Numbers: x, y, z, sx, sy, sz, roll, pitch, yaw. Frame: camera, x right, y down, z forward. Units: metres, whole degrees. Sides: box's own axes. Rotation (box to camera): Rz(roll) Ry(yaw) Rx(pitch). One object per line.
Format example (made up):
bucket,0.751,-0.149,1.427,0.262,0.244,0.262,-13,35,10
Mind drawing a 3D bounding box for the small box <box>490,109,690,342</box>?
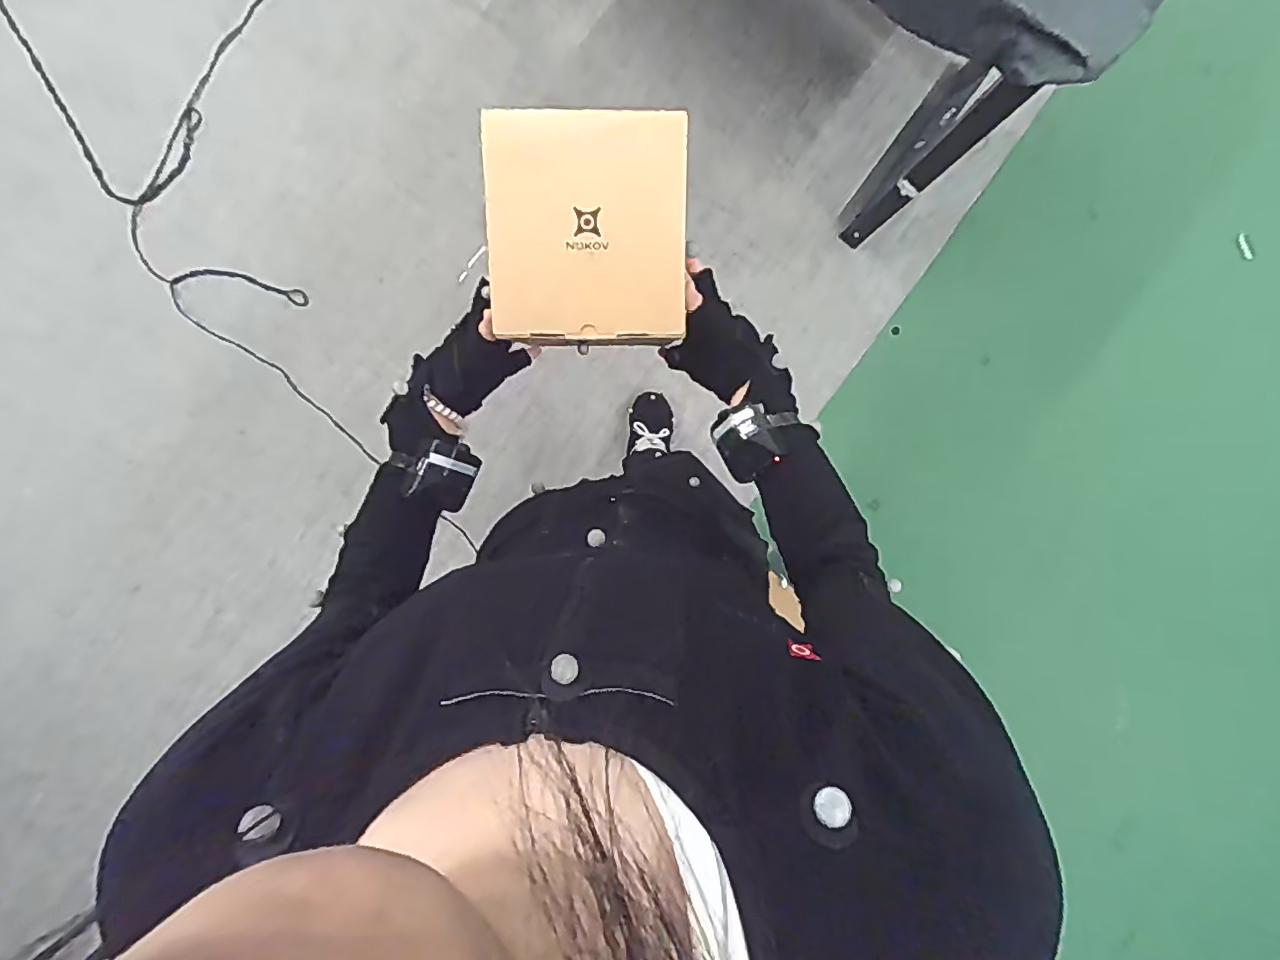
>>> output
small box,-0.046,-0.230,0.533,0.168,0.176,0.179,-1,104,-3
